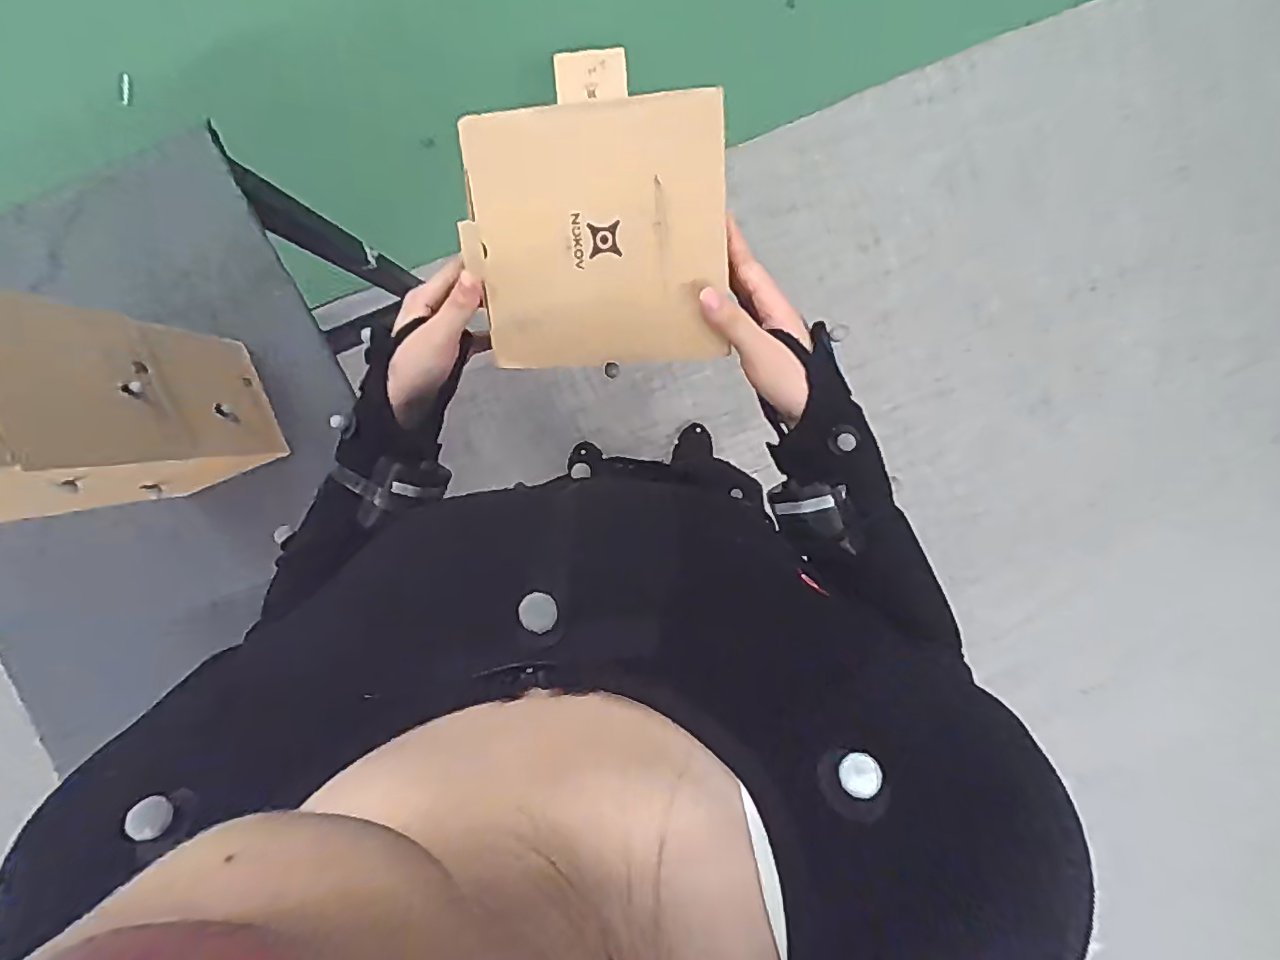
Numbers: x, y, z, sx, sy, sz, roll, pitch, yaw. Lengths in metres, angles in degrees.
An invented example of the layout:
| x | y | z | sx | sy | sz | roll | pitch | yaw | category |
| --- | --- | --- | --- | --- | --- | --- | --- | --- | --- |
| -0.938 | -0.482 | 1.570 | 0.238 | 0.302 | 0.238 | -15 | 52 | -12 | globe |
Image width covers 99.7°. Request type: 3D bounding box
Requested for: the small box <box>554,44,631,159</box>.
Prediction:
| x | y | z | sx | sy | sz | roll | pitch | yaw | category |
| --- | --- | --- | --- | --- | --- | --- | --- | --- | --- |
| -0.110 | -0.901 | 1.308 | 0.168 | 0.176 | 0.179 | -4 | 96 | 0 | small box |

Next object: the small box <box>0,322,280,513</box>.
| x | y | z | sx | sy | sz | roll | pitch | yaw | category |
| --- | --- | --- | --- | --- | --- | --- | --- | --- | --- |
| -0.589 | -0.076 | 0.665 | 0.179 | 0.176 | 0.168 | -20 | 95 | 4 | small box |
